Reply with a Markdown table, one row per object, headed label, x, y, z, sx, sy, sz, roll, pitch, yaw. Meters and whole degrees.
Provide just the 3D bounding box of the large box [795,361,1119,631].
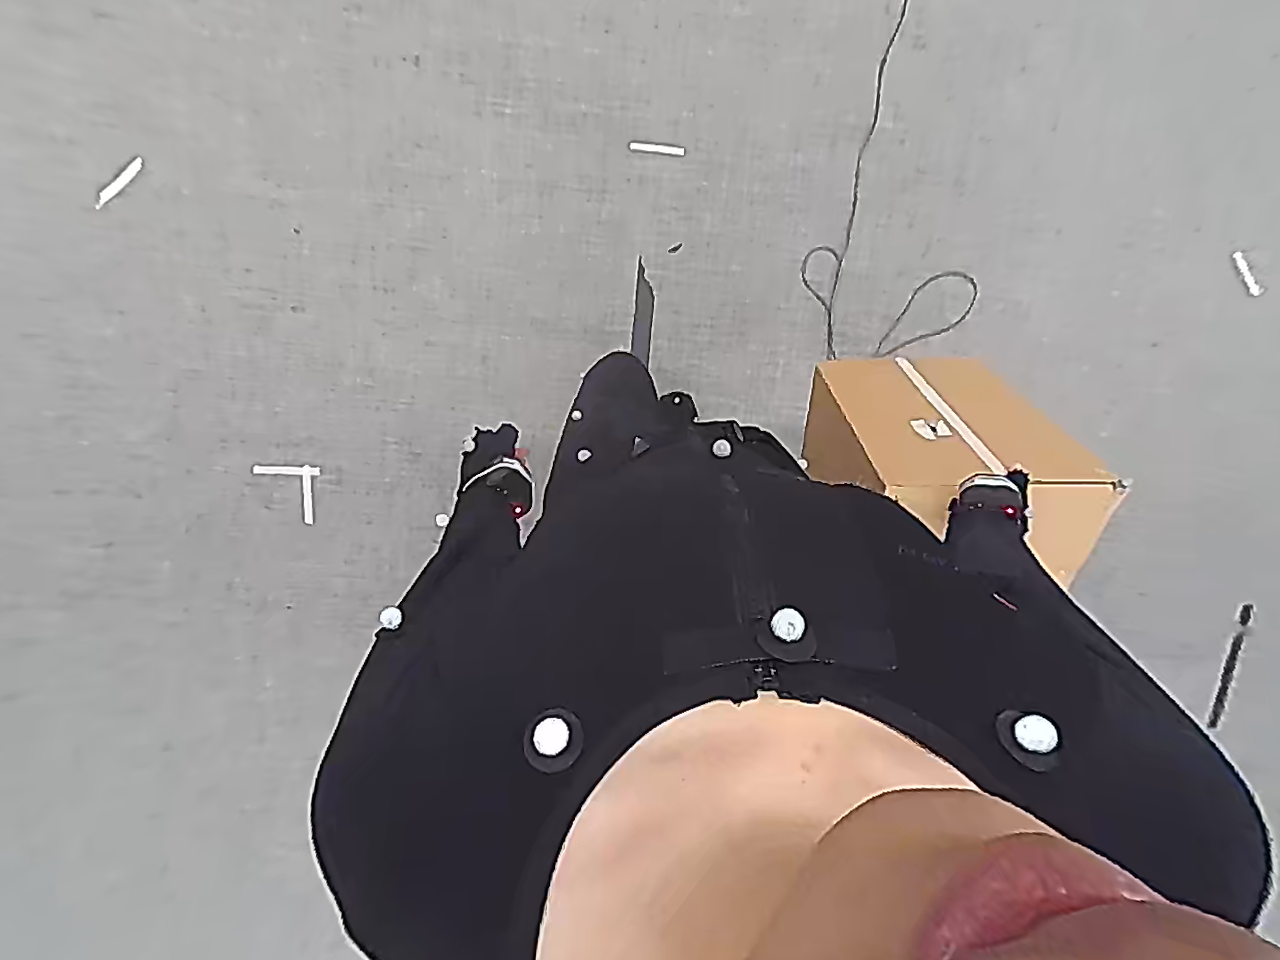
| label | x | y | z | sx | sy | sz | roll | pitch | yaw |
| --- | --- | --- | --- | --- | --- | --- | --- | --- | --- |
| large box | 0.493 | 0.014 | 0.969 | 0.320 | 0.408 | 0.320 | -2 | 127 | 2 |
